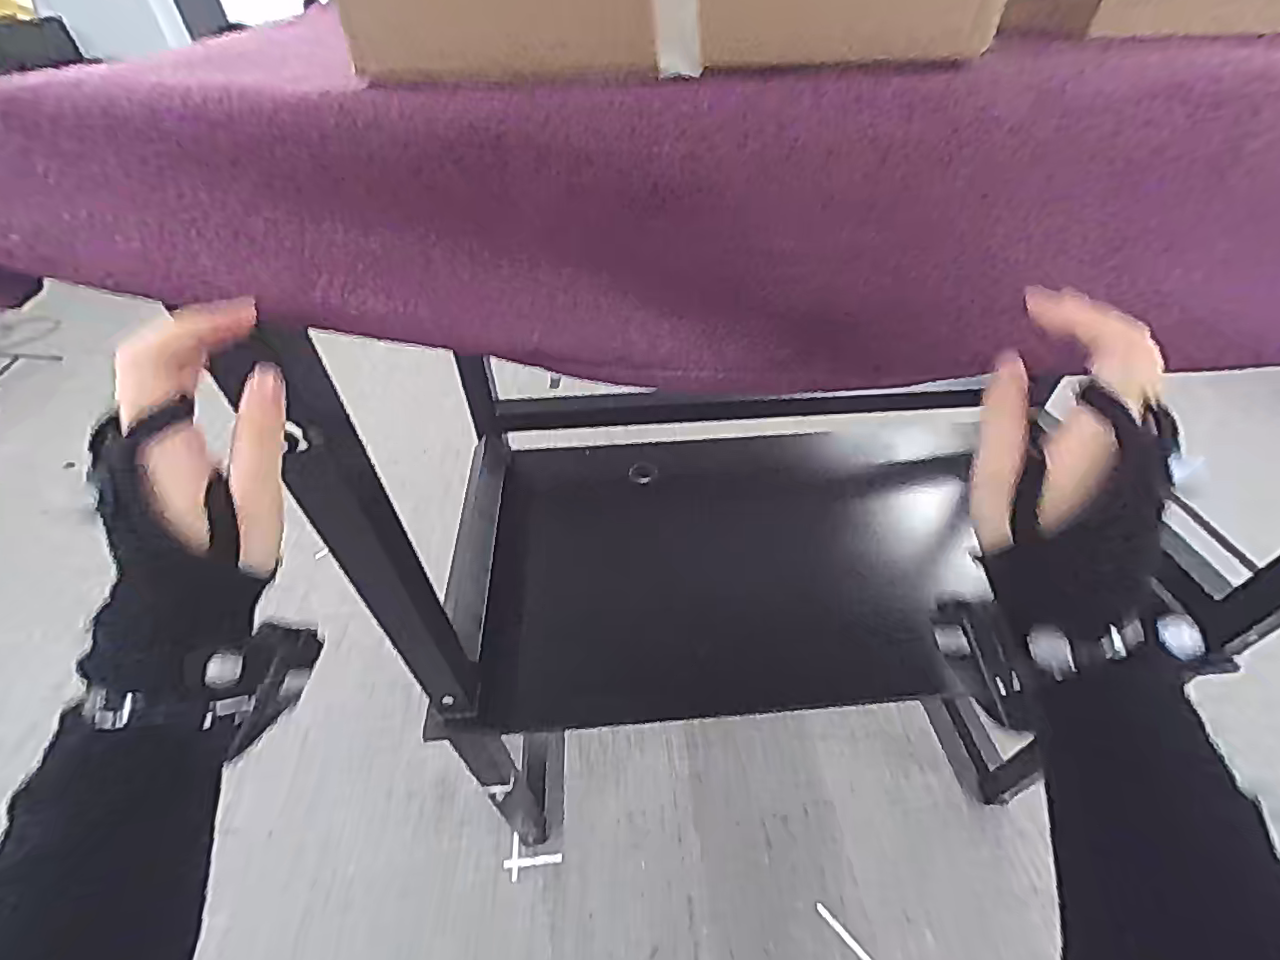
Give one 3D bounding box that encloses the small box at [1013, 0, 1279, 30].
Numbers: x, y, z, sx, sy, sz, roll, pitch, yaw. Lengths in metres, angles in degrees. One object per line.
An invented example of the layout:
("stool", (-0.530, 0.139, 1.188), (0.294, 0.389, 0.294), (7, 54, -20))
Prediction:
("small box", (0.375, -0.414, 0.352), (0.179, 0.176, 0.168), (-3, 43, -1))
